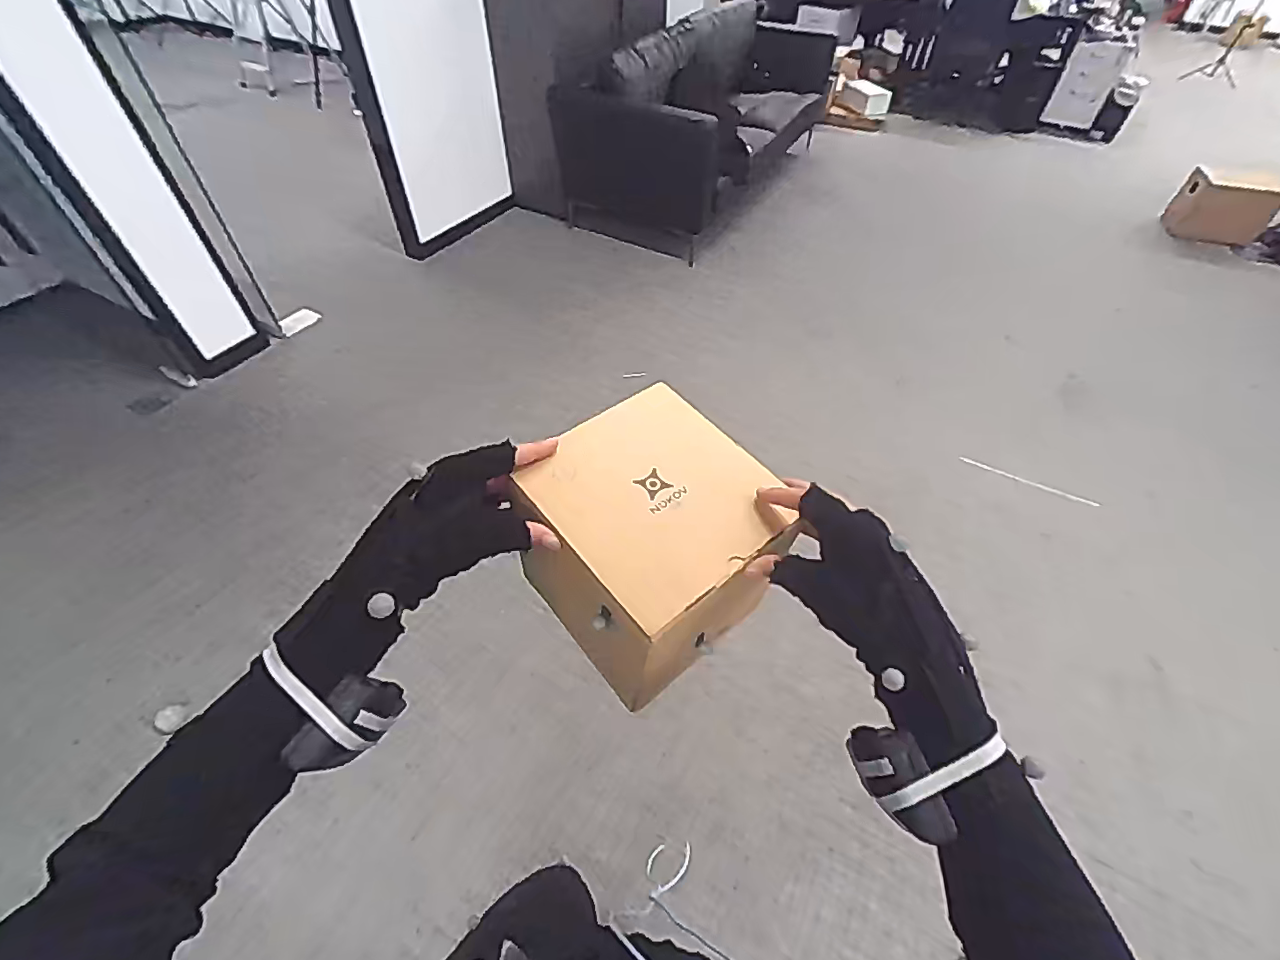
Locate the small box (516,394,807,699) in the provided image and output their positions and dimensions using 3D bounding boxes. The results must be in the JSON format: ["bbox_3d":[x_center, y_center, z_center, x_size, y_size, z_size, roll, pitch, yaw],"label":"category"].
[{"bbox_3d":[0.008,0.061,0.485,0.168,0.176,0.179,-31,62,-27],"label":"small box"}]
